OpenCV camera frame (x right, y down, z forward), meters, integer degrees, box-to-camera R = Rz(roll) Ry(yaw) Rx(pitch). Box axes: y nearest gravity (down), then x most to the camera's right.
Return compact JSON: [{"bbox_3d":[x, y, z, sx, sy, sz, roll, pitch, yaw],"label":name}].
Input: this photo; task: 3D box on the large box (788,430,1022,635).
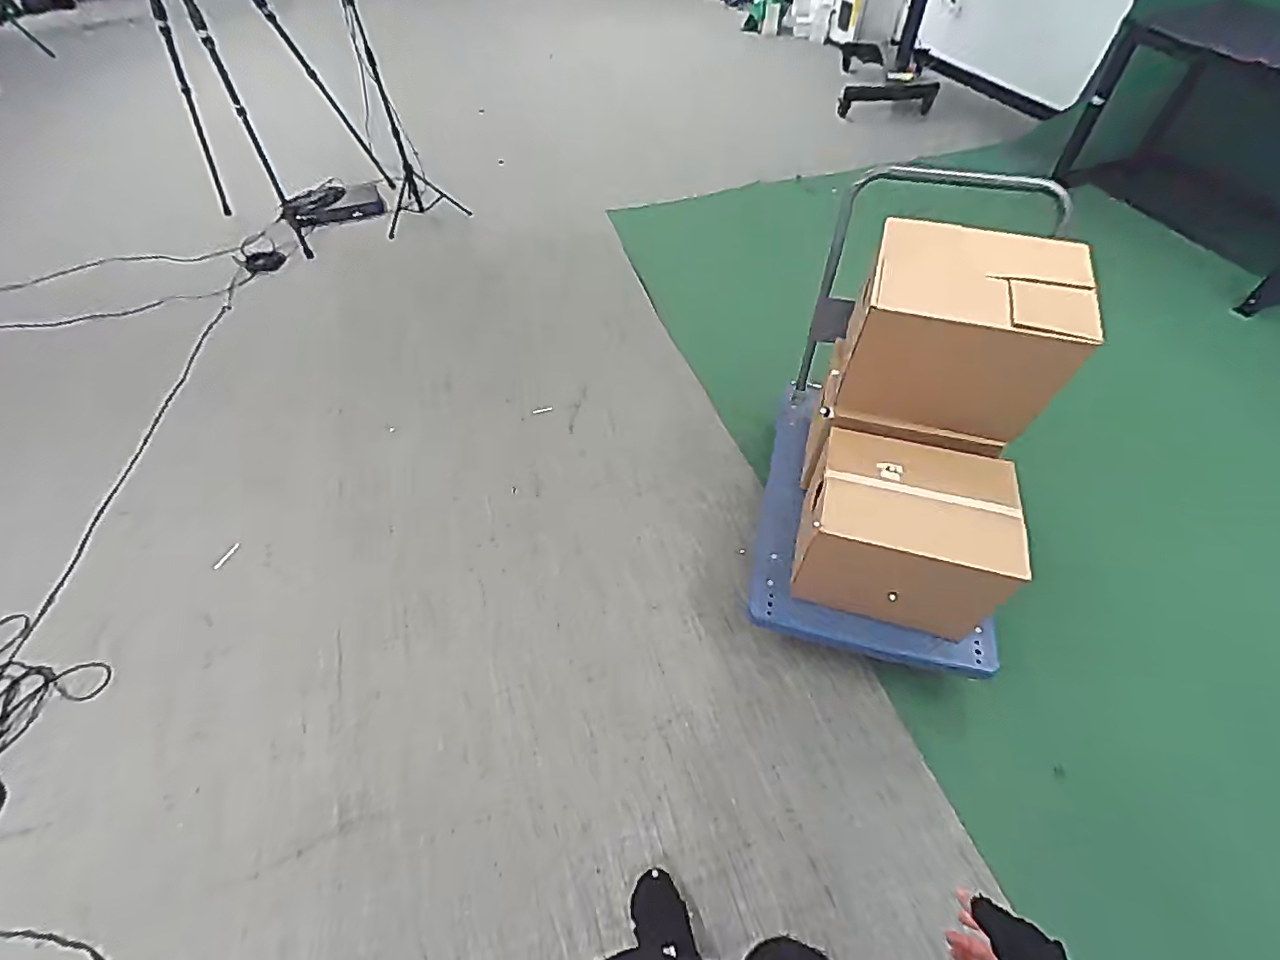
[{"bbox_3d":[0.595,0.126,1.278,0.408,0.320,0.320,13,53,12],"label":"large box"}]
